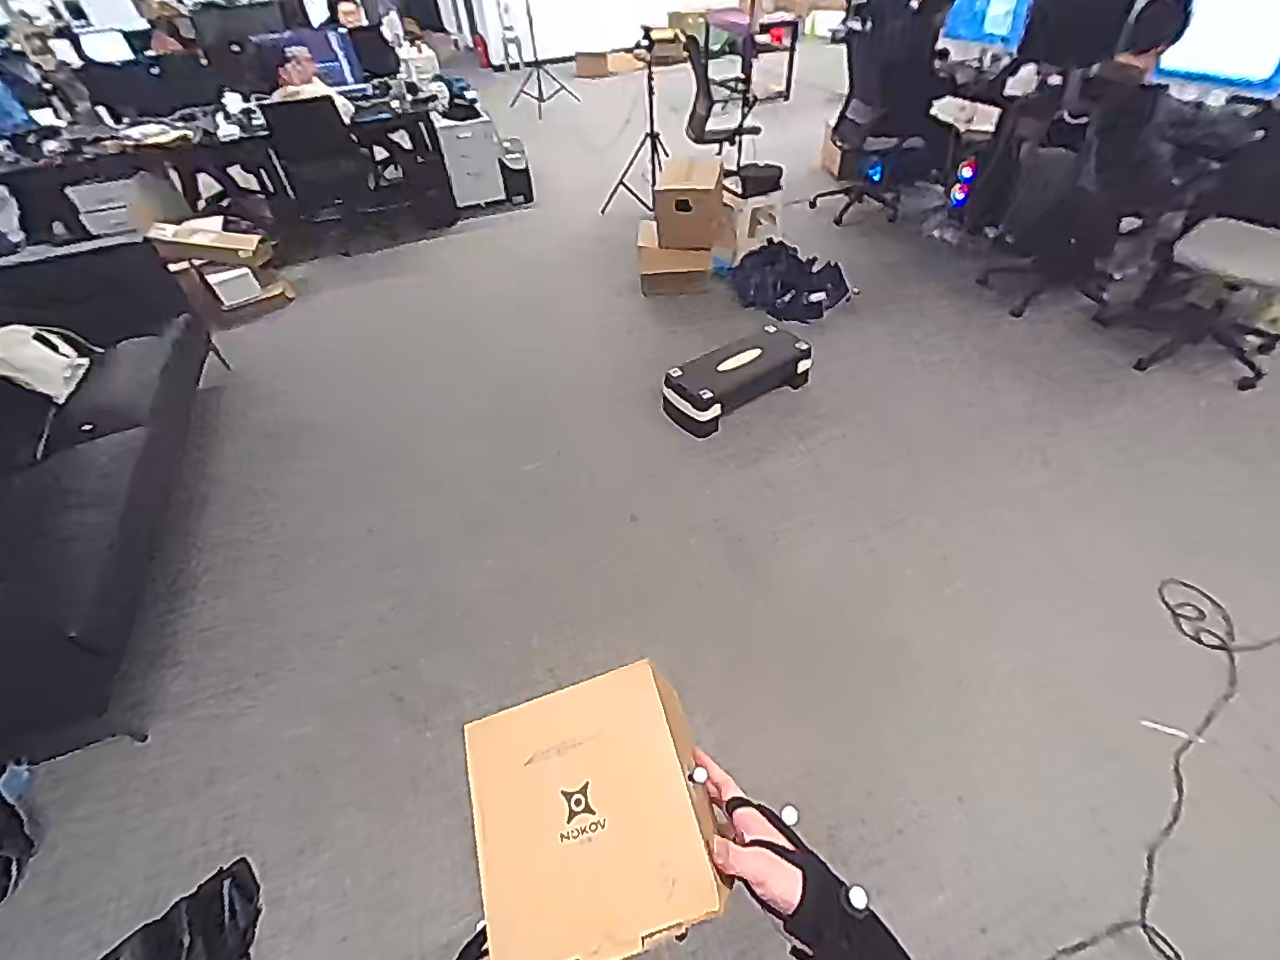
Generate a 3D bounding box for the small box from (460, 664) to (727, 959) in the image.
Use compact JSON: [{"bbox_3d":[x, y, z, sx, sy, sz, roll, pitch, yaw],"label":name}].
[{"bbox_3d":[-0.033,0.285,0.470,0.168,0.176,0.179,-21,58,1],"label":"small box"}]
